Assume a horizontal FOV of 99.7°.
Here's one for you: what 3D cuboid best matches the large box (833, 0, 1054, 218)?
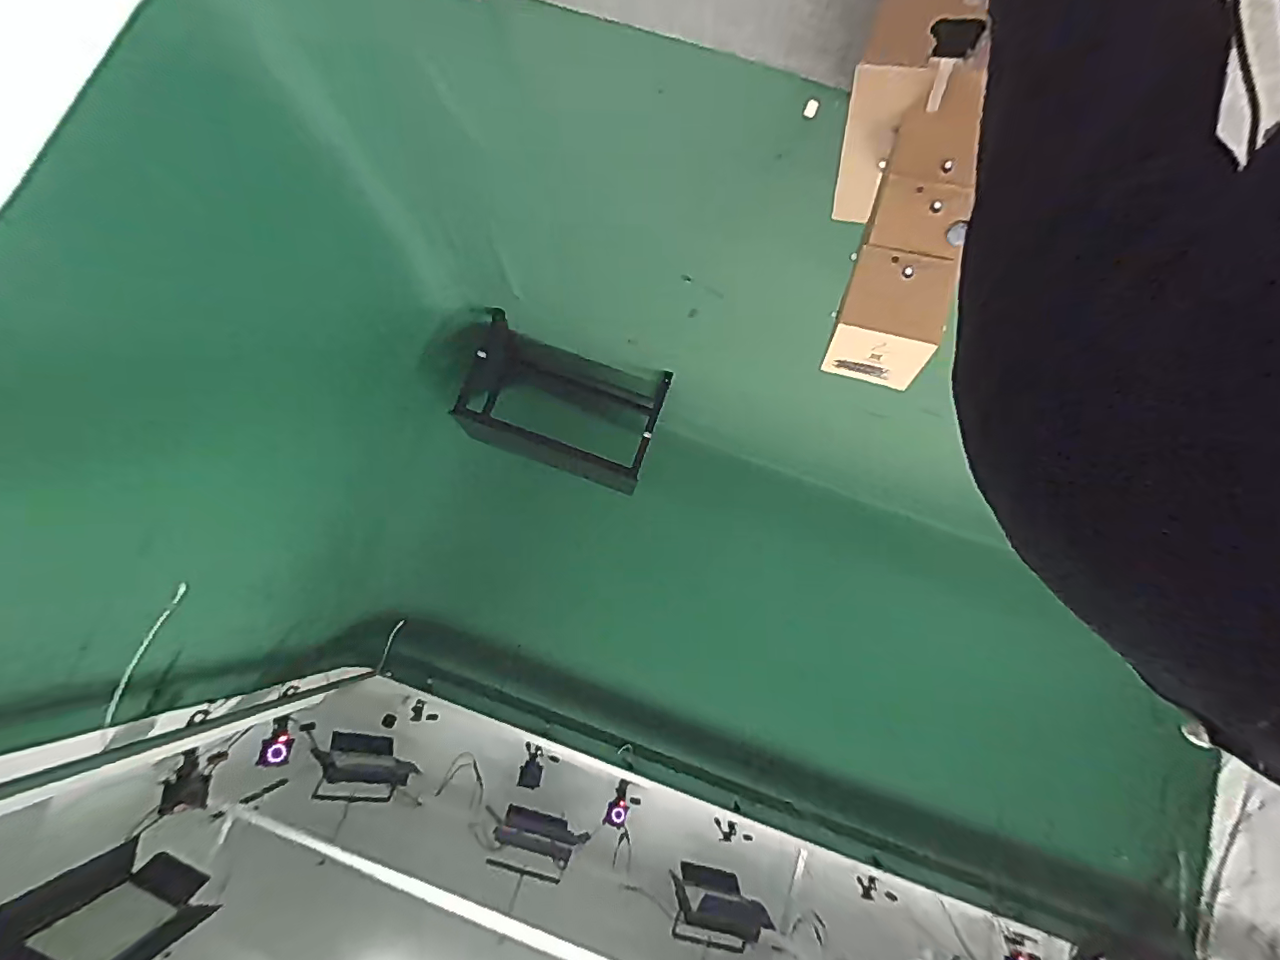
[{"bbox_3d":[0.624,-0.826,1.151,0.320,0.320,0.408,17,170,17],"label":"large box"}]

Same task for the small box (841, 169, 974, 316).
[{"bbox_3d":[0.509,-0.450,1.037,0.168,0.176,0.179,17,168,10],"label":"small box"}]

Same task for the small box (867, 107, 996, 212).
[{"bbox_3d":[0.568,-0.597,1.071,0.179,0.176,0.168,17,168,11],"label":"small box"}]
